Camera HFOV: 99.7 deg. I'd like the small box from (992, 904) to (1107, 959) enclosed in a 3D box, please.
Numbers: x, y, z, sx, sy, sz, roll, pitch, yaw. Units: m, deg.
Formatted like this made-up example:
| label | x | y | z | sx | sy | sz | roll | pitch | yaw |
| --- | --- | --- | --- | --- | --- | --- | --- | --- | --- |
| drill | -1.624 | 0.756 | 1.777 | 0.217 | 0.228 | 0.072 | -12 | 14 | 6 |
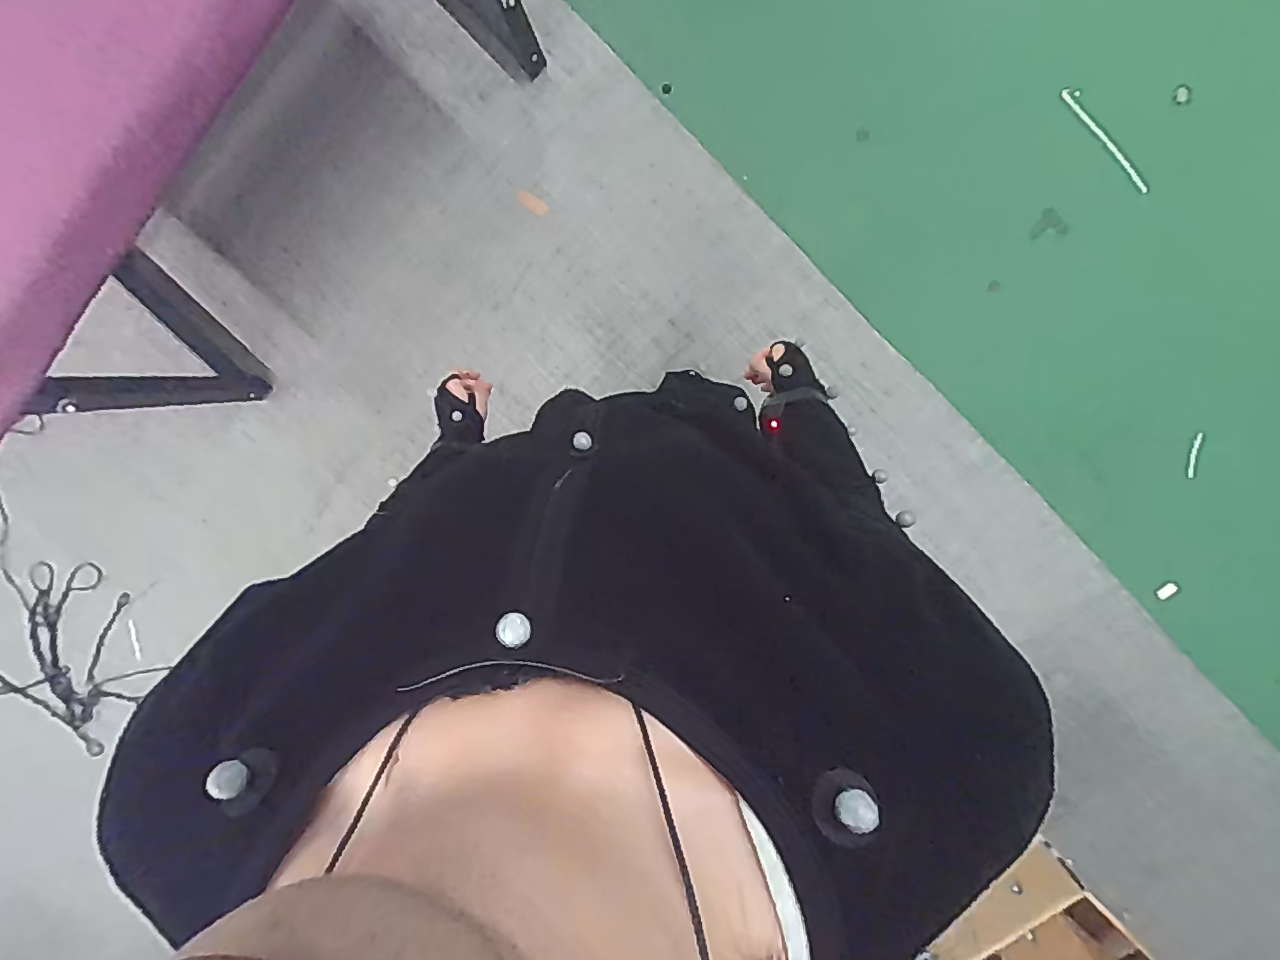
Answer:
| label | x | y | z | sx | sy | sz | roll | pitch | yaw |
| --- | --- | --- | --- | --- | --- | --- | --- | --- | --- |
| small box | 0.900 | 1.055 | 1.135 | 0.179 | 0.176 | 0.168 | 42 | 100 | -4 |
